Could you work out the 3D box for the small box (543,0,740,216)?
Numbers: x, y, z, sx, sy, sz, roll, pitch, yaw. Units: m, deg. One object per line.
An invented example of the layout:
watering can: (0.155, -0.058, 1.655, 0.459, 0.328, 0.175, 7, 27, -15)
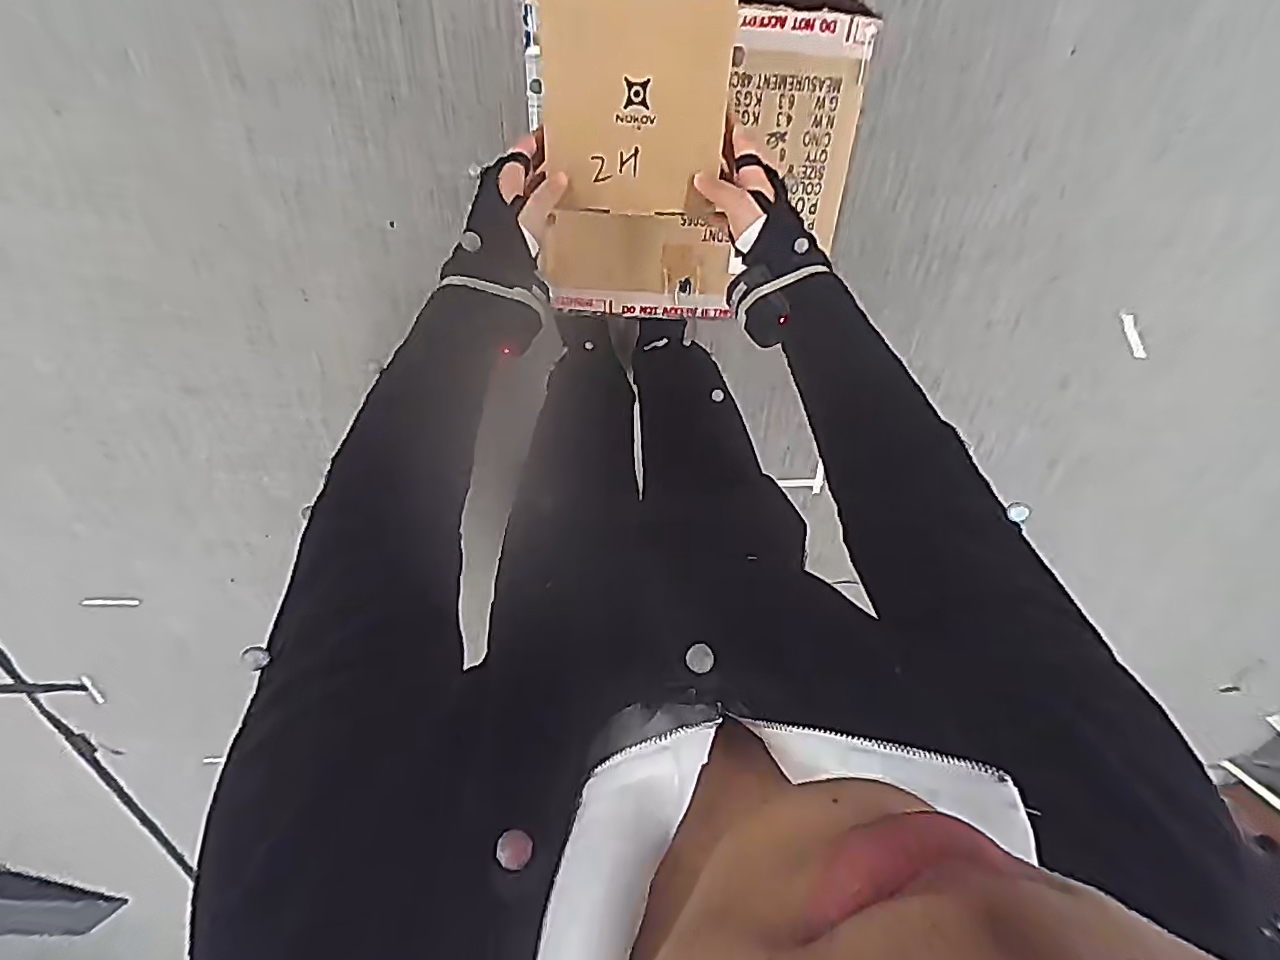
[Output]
small box: (-0.006, -0.377, 0.545, 0.168, 0.176, 0.179, 1, 124, -3)
